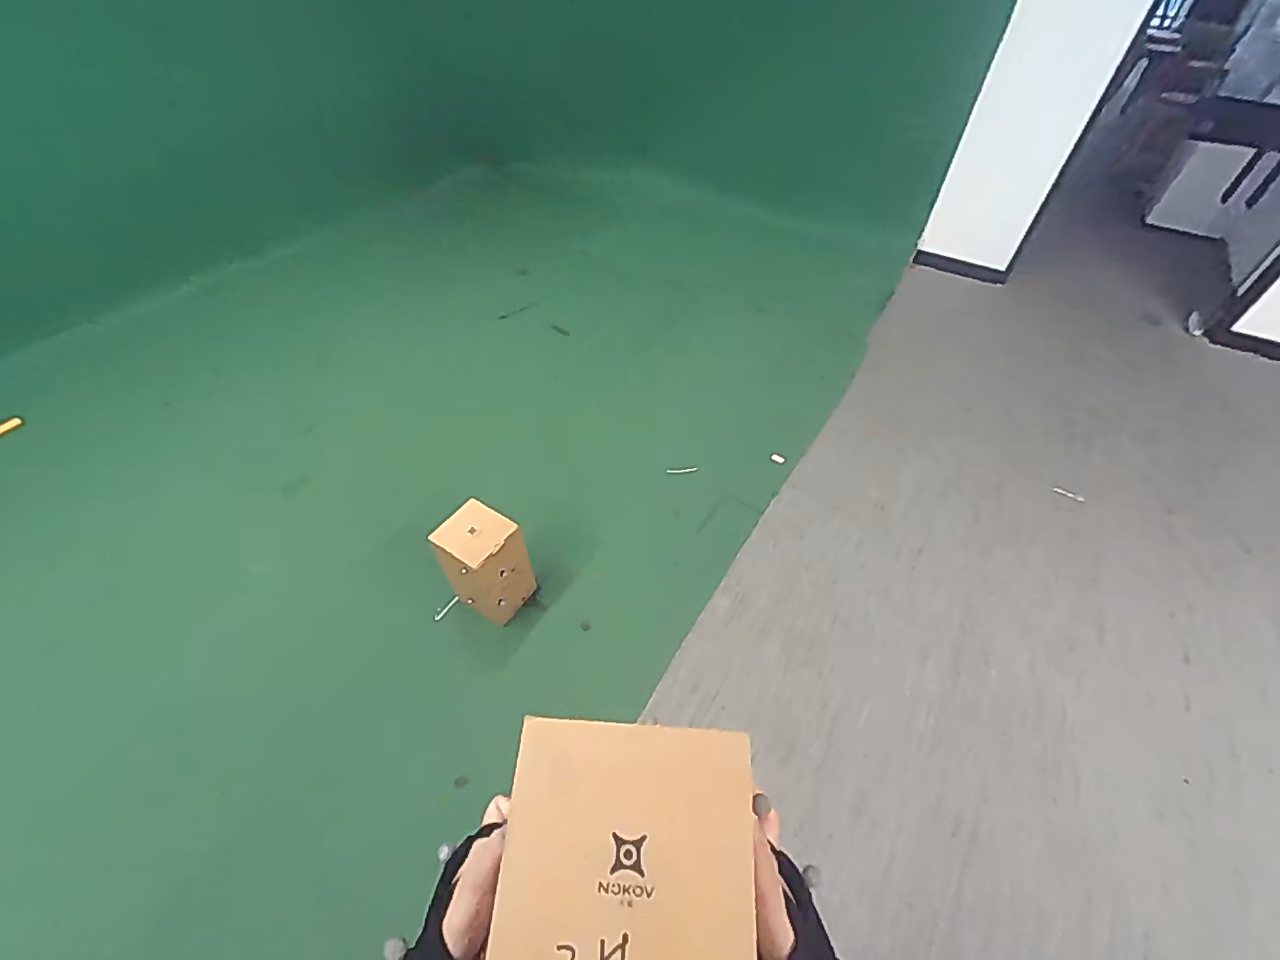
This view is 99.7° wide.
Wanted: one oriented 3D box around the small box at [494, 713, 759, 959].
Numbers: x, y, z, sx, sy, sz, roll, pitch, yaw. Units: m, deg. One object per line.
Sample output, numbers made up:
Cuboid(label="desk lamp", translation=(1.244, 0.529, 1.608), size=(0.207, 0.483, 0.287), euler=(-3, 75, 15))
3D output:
Cuboid(label="small box", translation=(0.000, 0.291, 0.424), size=(0.168, 0.176, 0.179), euler=(0, 61, 6))

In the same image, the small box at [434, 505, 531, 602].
Cuboid(label="small box", translation=(-0.426, 0.205, 1.486), size=(0.179, 0.176, 0.168), euler=(25, 54, 21))
